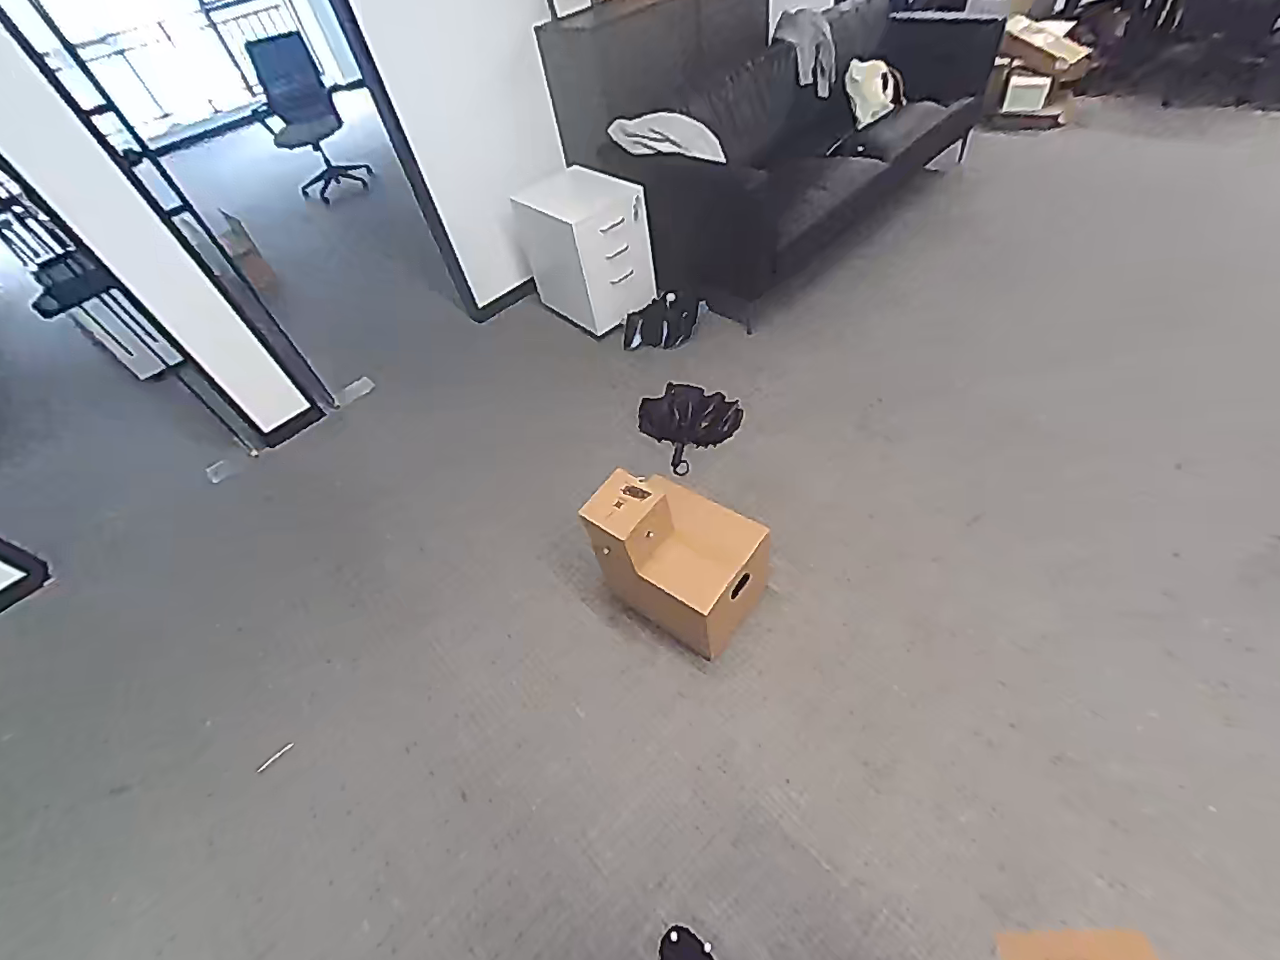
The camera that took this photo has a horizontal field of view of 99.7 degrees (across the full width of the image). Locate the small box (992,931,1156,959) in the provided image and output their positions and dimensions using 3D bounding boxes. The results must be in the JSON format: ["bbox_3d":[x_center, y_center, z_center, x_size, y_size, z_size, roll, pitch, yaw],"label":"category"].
[{"bbox_3d":[0.533,0.660,0.607,0.168,0.179,0.176,-18,86,21],"label":"small box"}]

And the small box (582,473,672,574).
[{"bbox_3d":[-0.027,0.120,1.468,0.168,0.176,0.179,28,64,31],"label":"small box"}]
